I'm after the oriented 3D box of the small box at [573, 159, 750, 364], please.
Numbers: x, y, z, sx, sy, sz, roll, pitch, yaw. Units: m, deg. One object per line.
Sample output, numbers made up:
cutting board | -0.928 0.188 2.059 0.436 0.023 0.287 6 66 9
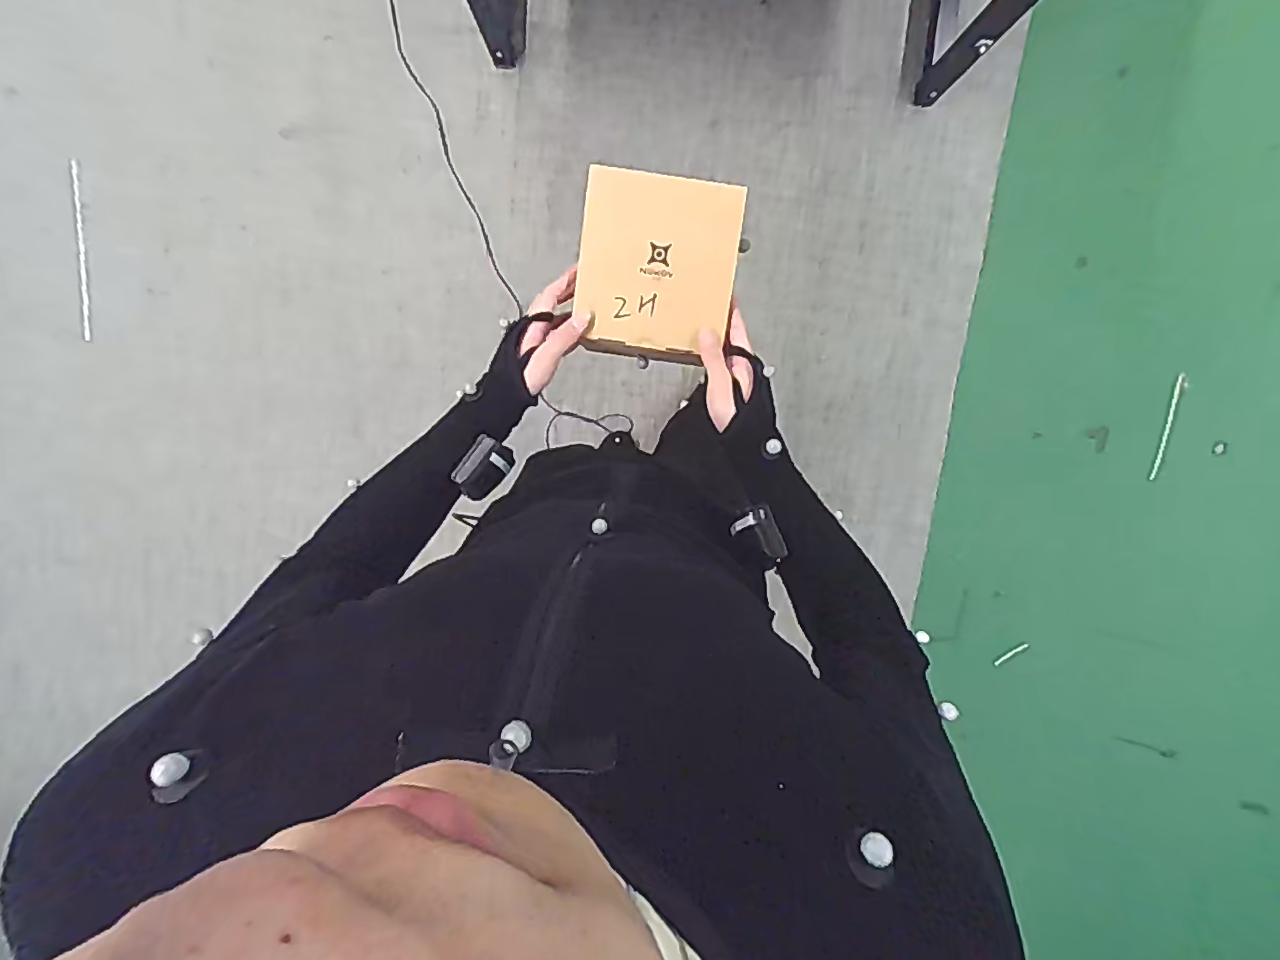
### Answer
small box | 0.020 -0.242 0.644 0.168 0.176 0.179 8 98 -1
